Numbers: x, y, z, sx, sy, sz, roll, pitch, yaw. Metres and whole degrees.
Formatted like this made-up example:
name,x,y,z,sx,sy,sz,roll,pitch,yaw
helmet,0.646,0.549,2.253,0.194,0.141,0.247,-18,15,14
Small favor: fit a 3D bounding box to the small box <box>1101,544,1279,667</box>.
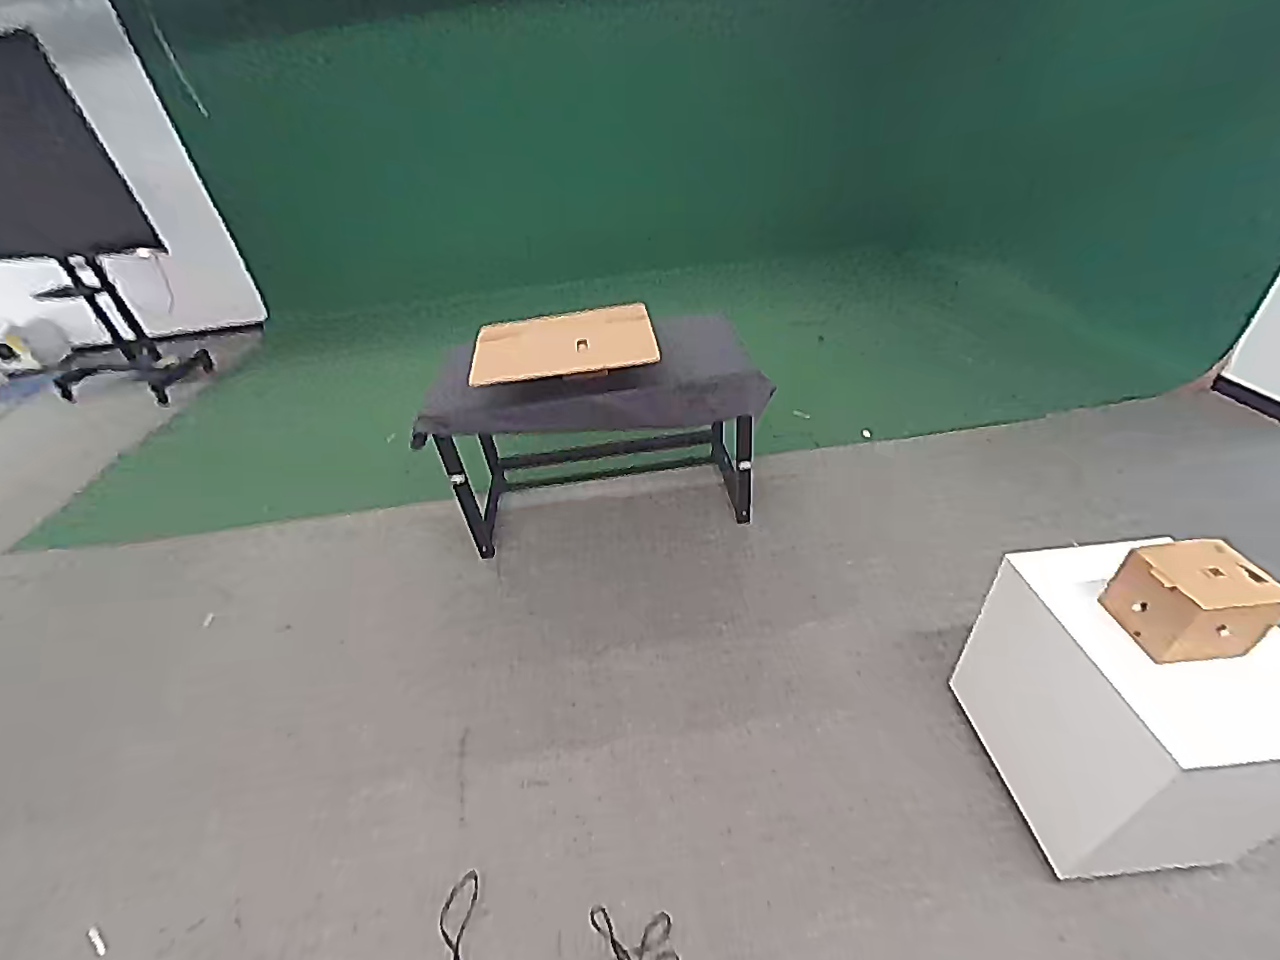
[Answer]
name,x,y,z,sx,sy,sz,roll,pitch,yaw
small box,1.075,0.252,1.075,0.179,0.176,0.168,-7,36,-2
